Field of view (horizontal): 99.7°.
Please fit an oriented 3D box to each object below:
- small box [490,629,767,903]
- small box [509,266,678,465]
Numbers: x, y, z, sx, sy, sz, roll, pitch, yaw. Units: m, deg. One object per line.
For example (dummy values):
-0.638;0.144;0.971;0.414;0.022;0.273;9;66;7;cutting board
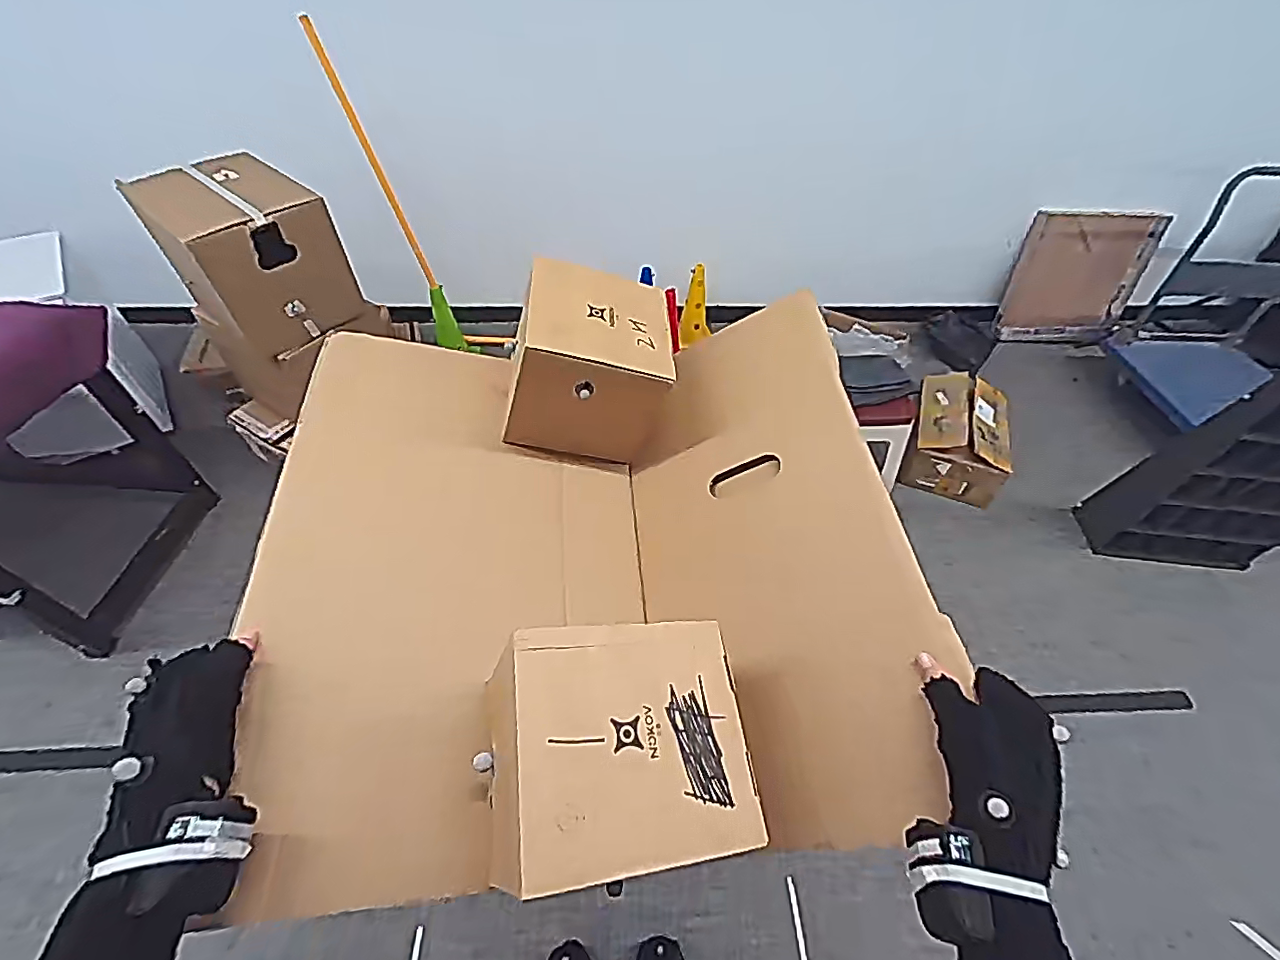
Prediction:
-0.026;0.233;0.457;0.179;0.176;0.168;3;56;-21;small box
-0.066;-0.138;0.701;0.179;0.176;0.168;11;54;-17;small box
